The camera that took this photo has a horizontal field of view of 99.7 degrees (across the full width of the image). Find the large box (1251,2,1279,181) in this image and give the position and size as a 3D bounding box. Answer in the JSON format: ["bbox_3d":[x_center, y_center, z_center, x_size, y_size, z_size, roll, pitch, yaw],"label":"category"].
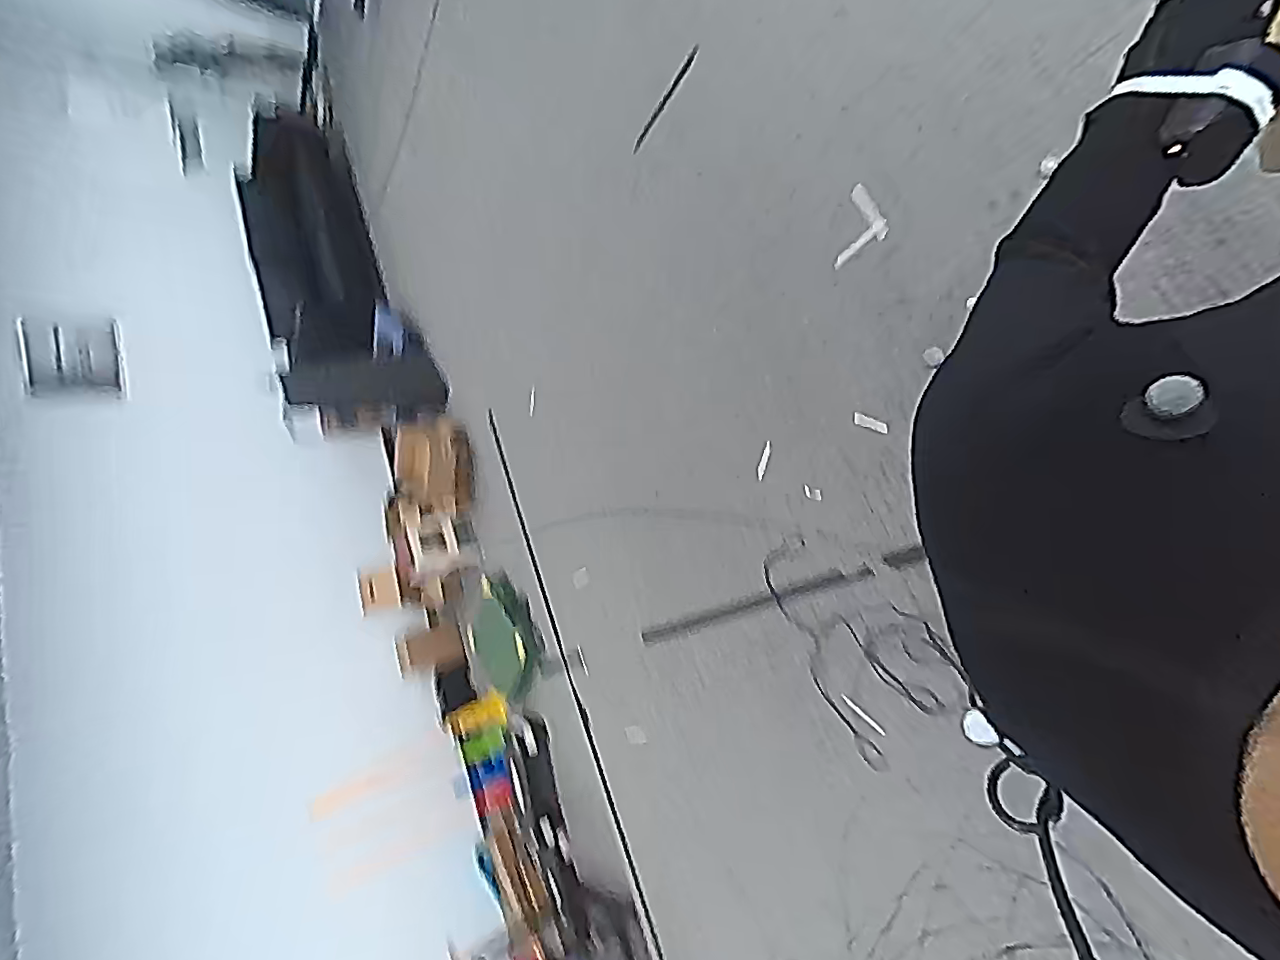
[{"bbox_3d":[0.678,-0.369,0.286,0.408,0.320,0.320,29,119,42],"label":"large box"}]
